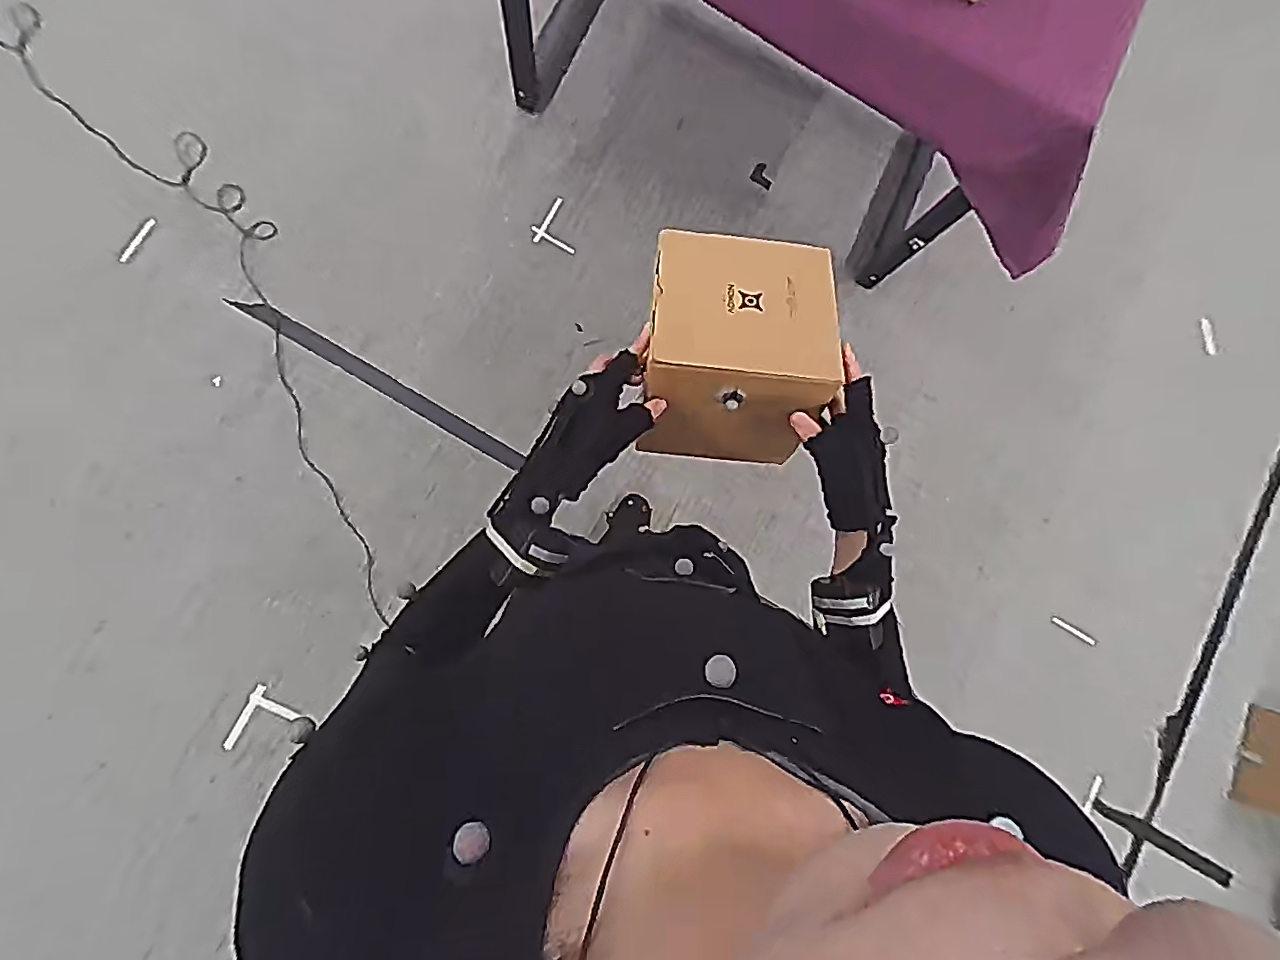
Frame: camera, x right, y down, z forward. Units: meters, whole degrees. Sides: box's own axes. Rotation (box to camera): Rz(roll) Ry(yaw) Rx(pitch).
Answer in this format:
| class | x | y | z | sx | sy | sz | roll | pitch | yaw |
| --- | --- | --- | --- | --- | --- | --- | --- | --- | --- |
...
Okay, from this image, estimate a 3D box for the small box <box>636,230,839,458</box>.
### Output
| class | x | y | z | sx | sy | sz | roll | pitch | yaw |
| --- | --- | --- | --- | --- | --- | --- | --- | --- | --- |
| small box | 0.091 | -0.135 | 0.582 | 0.179 | 0.176 | 0.168 | 5 | 66 | -3 |
